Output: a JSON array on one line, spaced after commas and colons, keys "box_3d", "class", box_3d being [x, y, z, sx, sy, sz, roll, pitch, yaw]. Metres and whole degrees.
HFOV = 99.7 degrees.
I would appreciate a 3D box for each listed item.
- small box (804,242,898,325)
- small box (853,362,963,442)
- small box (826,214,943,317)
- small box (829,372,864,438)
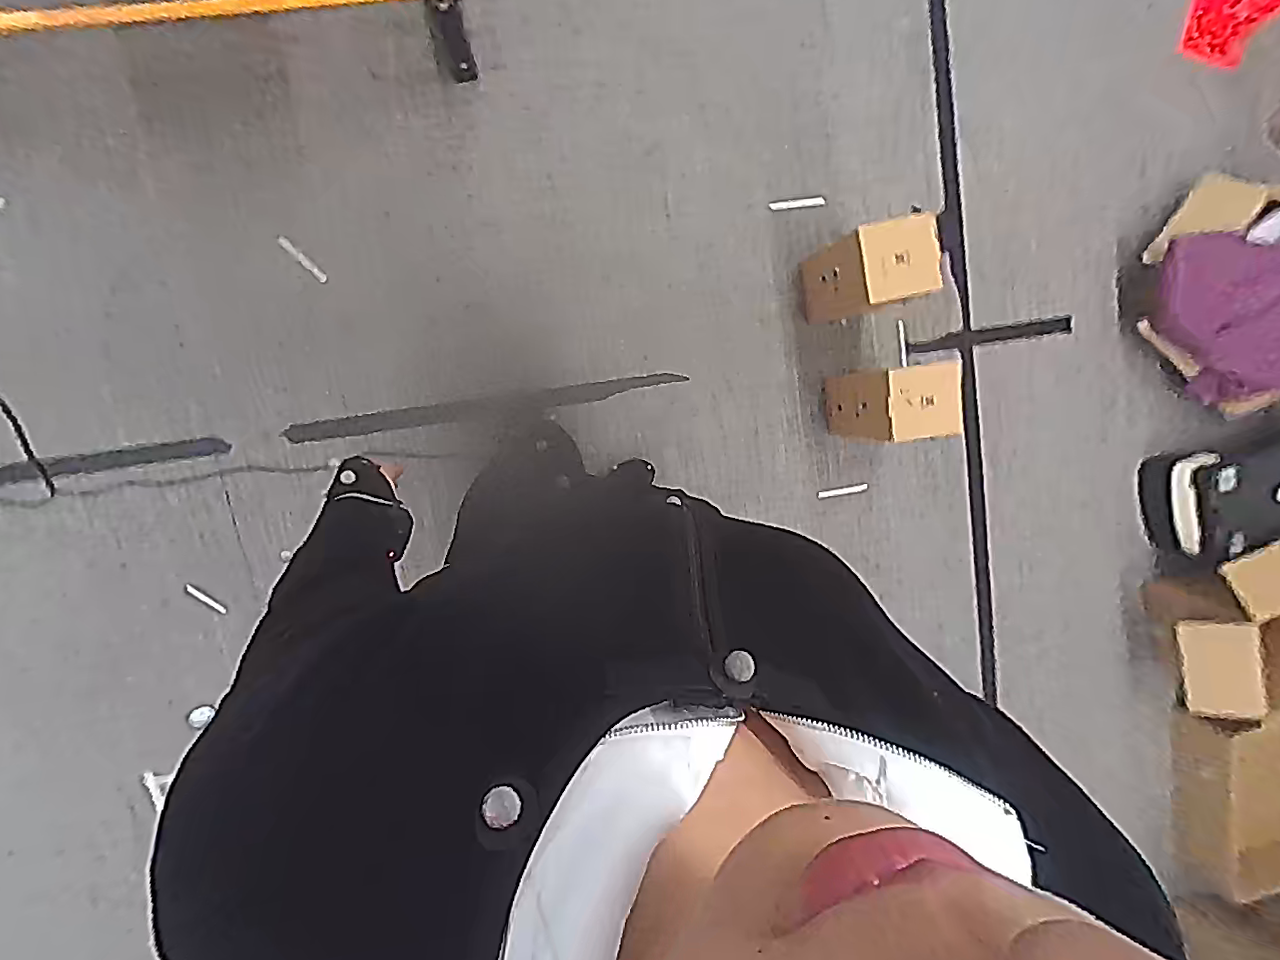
[{"box_3d": [0.543, -0.514, 1.410, 0.168, 0.176, 0.179, -12, 100, -5], "class": "small box"}, {"box_3d": [0.639, -0.188, 1.300, 0.179, 0.176, 0.168, -8, 98, -5], "class": "small box"}, {"box_3d": [0.559, -0.487, 1.250, 0.179, 0.176, 0.168, -14, 98, -3], "class": "small box"}, {"box_3d": [0.628, -0.210, 1.465, 0.179, 0.176, 0.168, -10, 99, -4], "class": "small box"}]
